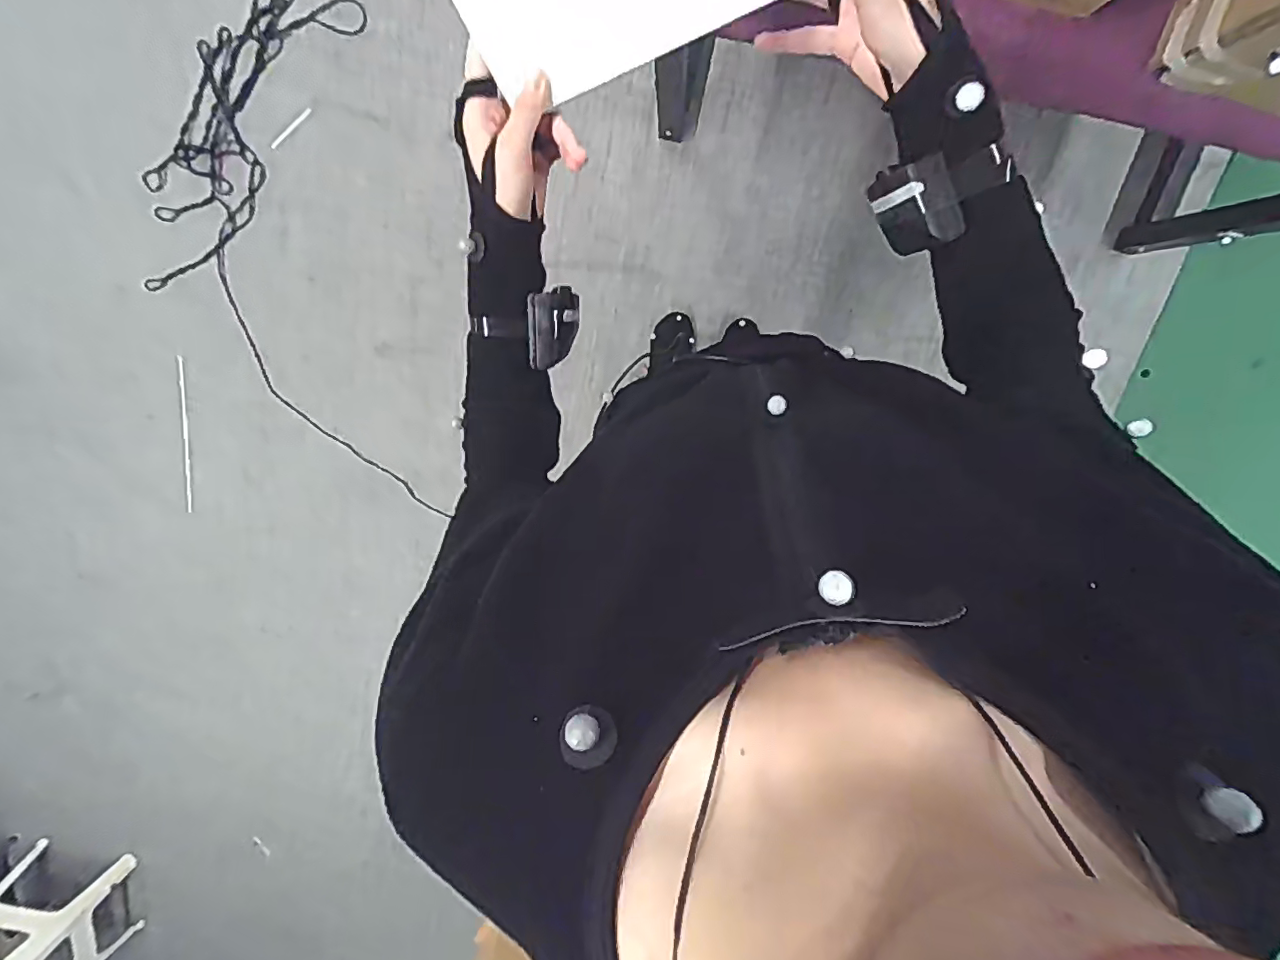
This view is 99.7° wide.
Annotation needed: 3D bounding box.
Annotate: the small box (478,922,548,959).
[{"bbox_3d":[-0.377,1.413,1.524,0.168,0.176,0.179,30,106,-5],"label":"small box"}]
